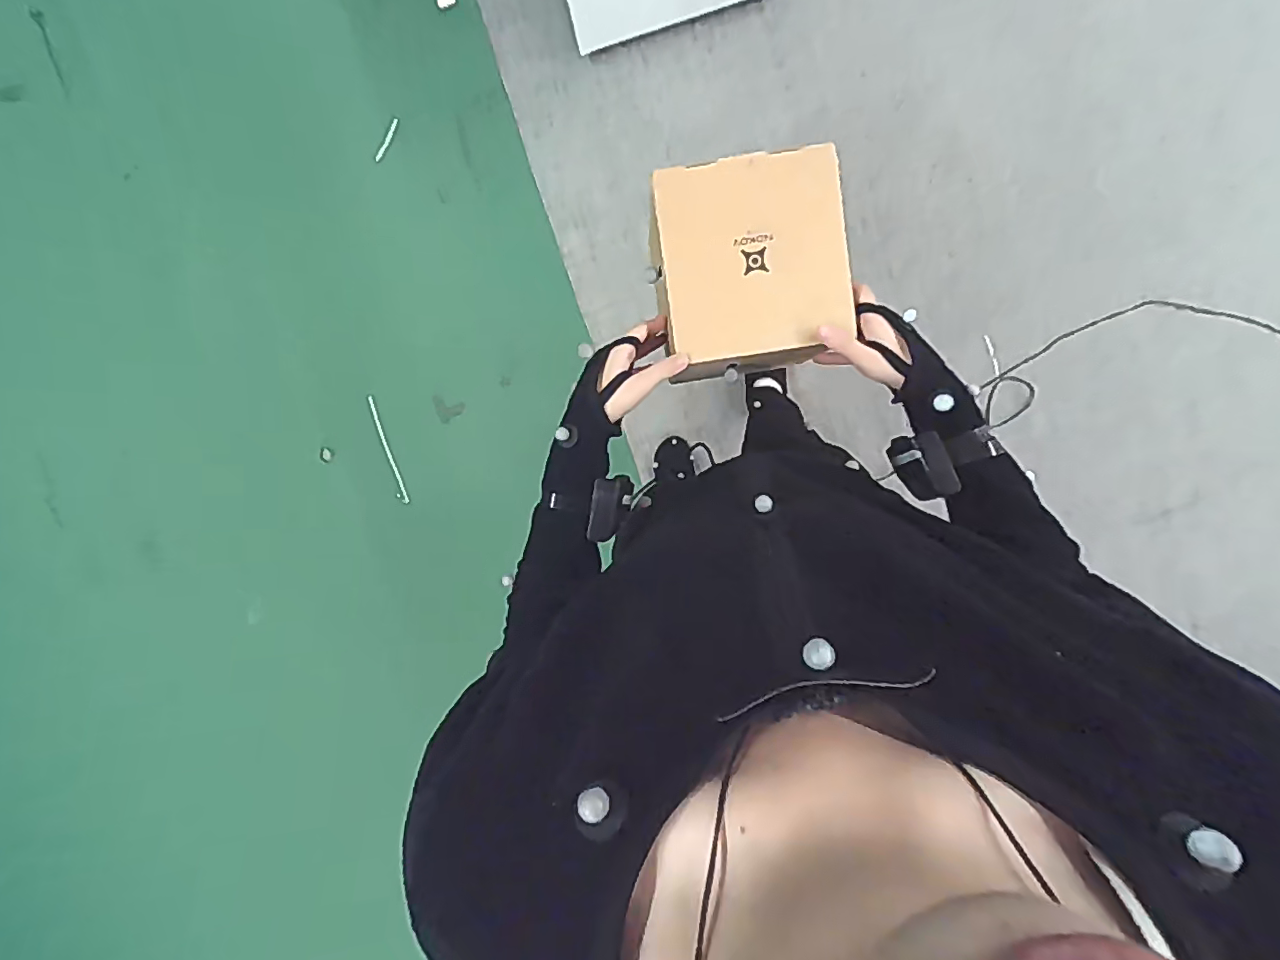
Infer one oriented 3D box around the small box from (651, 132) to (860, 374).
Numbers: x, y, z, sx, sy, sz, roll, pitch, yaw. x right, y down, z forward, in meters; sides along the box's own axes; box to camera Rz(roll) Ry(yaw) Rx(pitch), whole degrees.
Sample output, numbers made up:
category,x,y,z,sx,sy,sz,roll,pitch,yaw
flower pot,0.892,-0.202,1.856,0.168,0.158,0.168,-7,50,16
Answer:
category,x,y,z,sx,sy,sz,roll,pitch,yaw
small box,0.104,-0.209,0.552,0.168,0.176,0.179,-9,93,1
